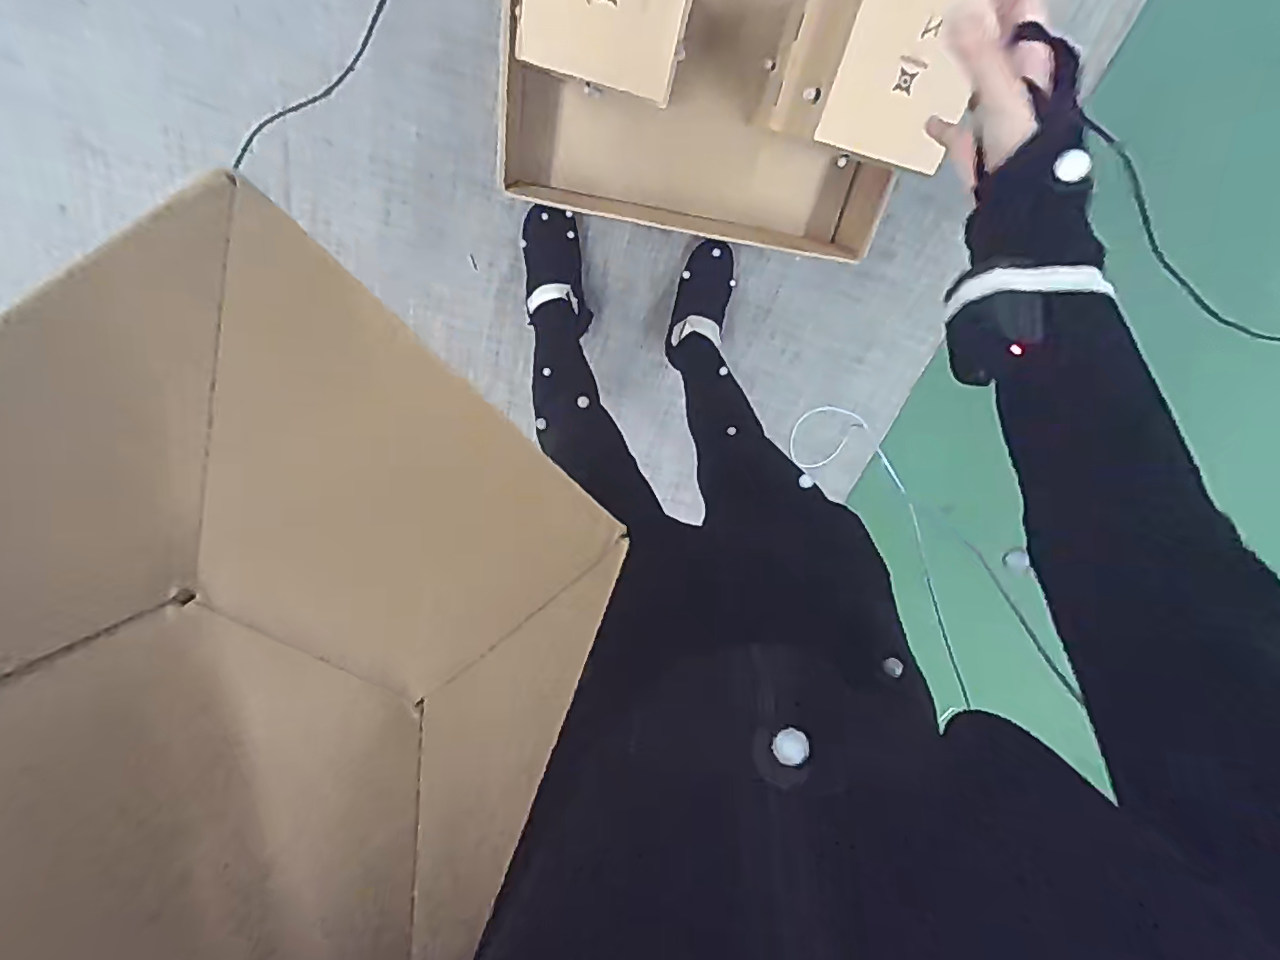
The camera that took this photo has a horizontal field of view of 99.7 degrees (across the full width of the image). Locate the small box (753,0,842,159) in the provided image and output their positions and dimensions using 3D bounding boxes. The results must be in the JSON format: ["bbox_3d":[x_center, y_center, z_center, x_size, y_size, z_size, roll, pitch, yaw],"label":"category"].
[{"bbox_3d":[0.289,-0.601,0.824,0.179,0.176,0.168,12,122,-8],"label":"small box"}]

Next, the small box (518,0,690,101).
[{"bbox_3d":[-0.034,-0.568,0.641,0.179,0.176,0.168,12,123,-10],"label":"small box"}]

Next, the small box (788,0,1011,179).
[{"bbox_3d":[0.307,-0.507,0.689,0.168,0.176,0.179,11,121,-10],"label":"small box"}]
